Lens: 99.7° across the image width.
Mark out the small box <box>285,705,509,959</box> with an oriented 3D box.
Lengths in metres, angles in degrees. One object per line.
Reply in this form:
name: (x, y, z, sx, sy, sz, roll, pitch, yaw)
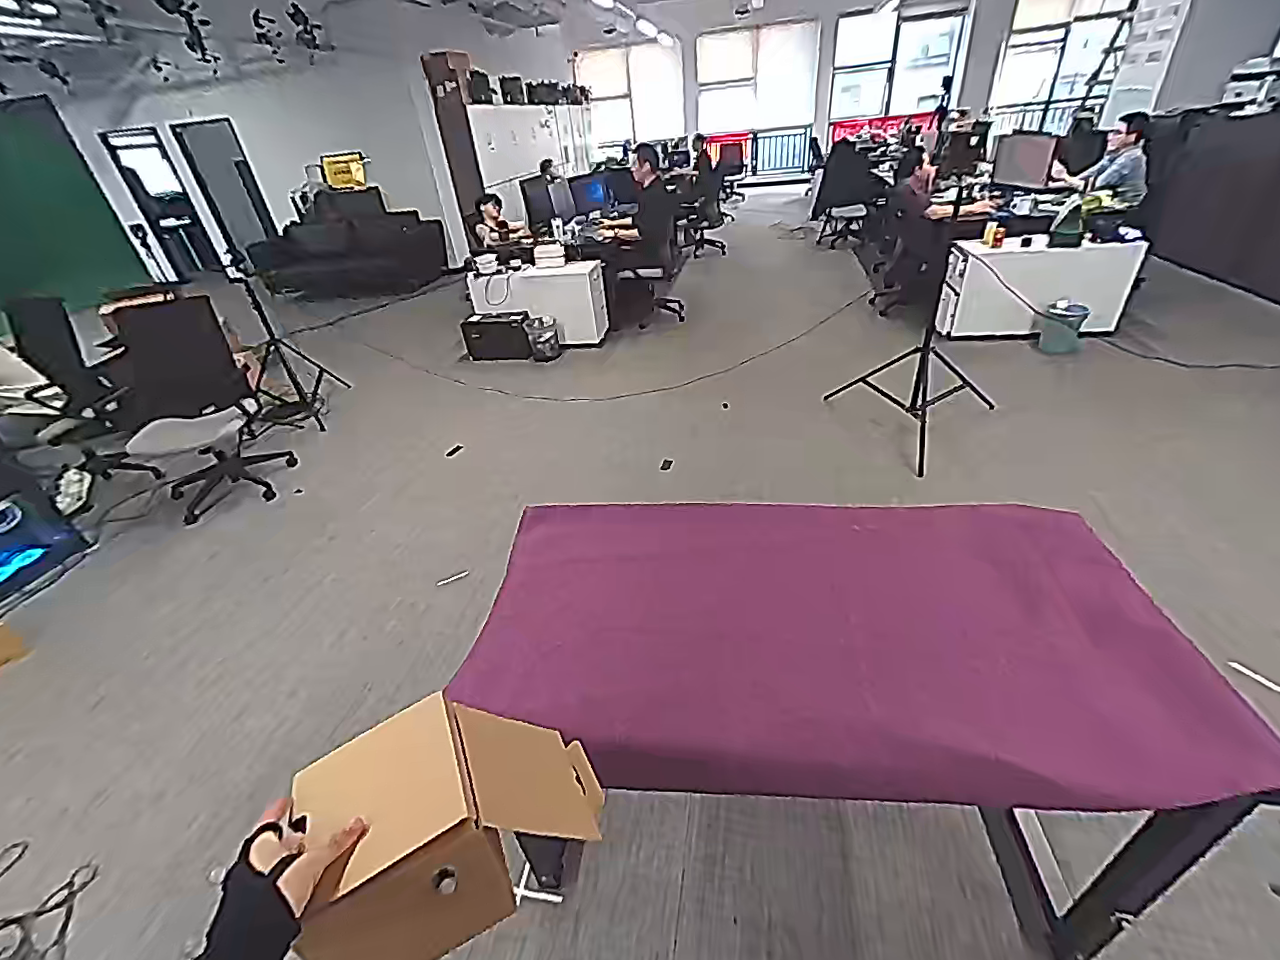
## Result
small box: (-0.253, 0.396, 0.593, 0.179, 0.176, 0.168, -19, 30, -20)
